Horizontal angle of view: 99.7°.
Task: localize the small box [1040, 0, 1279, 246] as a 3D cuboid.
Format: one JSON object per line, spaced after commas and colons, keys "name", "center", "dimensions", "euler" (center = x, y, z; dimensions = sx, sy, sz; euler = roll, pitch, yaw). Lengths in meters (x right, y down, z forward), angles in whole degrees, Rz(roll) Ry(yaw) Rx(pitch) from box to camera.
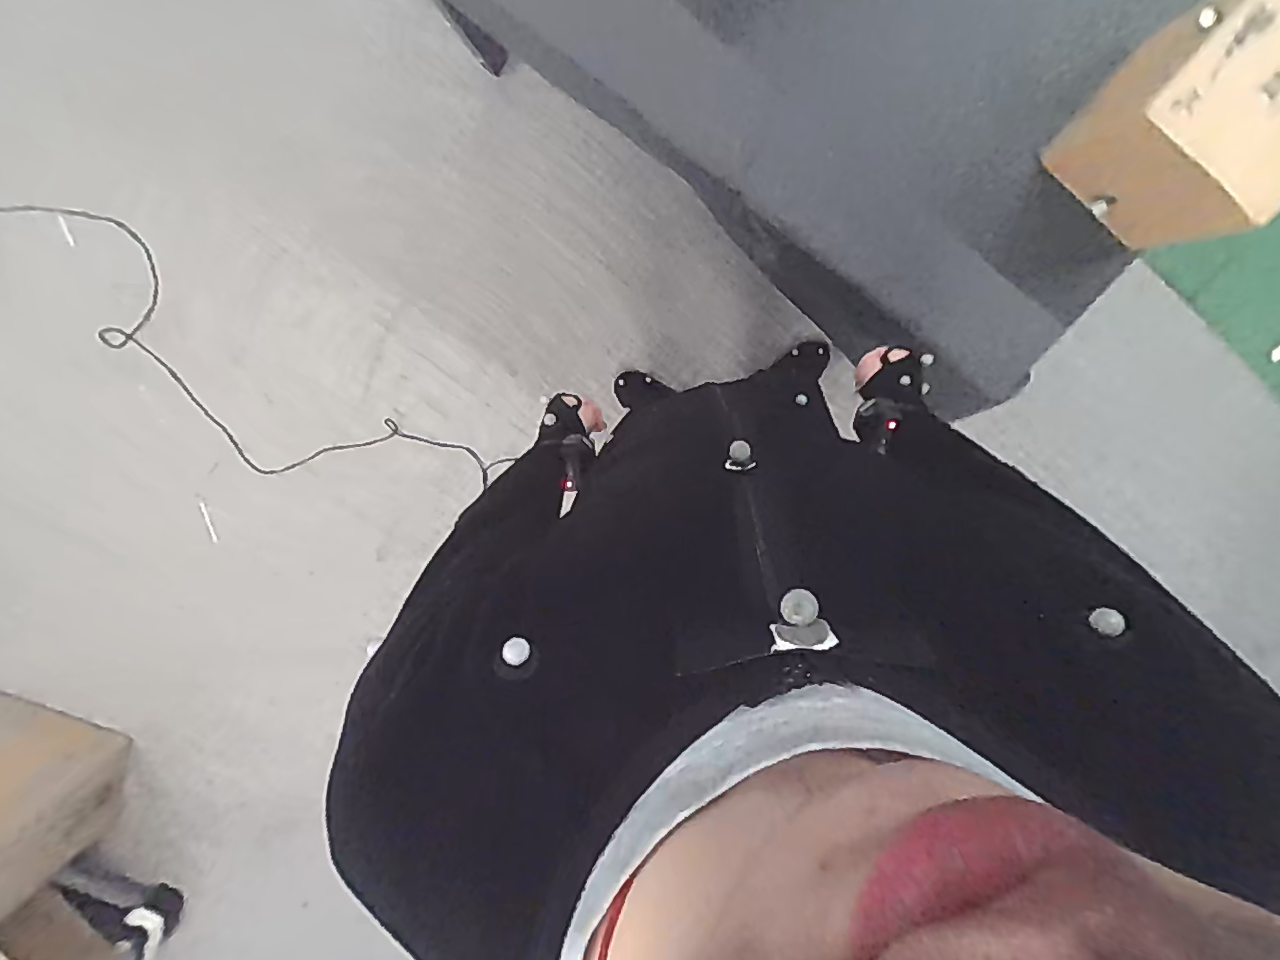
{"name": "small box", "center": [0.608, -0.383, 0.595], "dimensions": [0.179, 0.176, 0.168], "euler": [38, 104, -8]}
